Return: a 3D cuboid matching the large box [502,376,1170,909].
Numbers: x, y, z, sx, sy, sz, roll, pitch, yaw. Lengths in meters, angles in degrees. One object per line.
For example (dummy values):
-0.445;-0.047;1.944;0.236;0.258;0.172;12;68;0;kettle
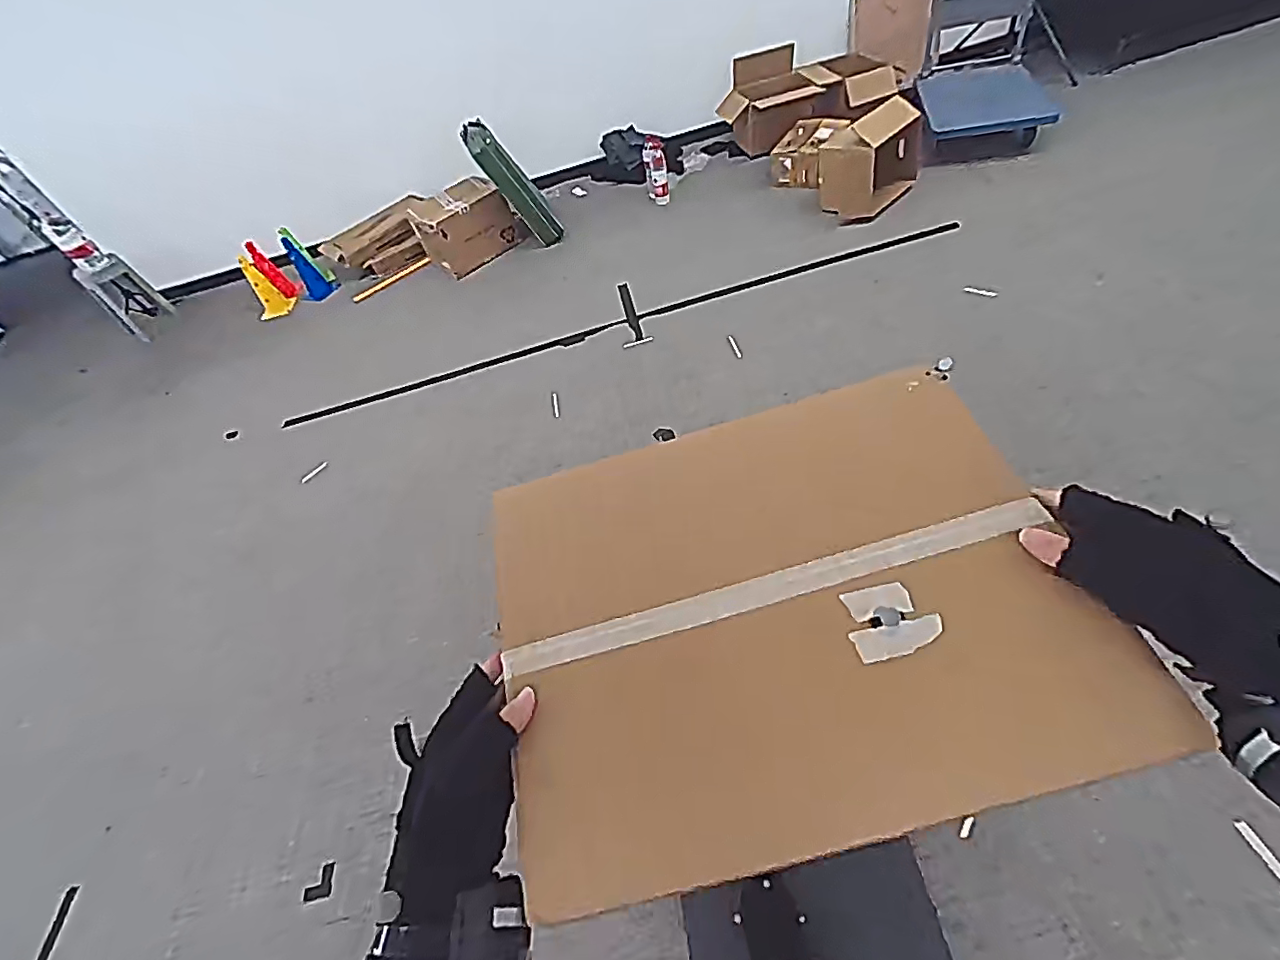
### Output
0.121;0.163;0.531;0.408;0.320;0.320;-17;57;2;large box
